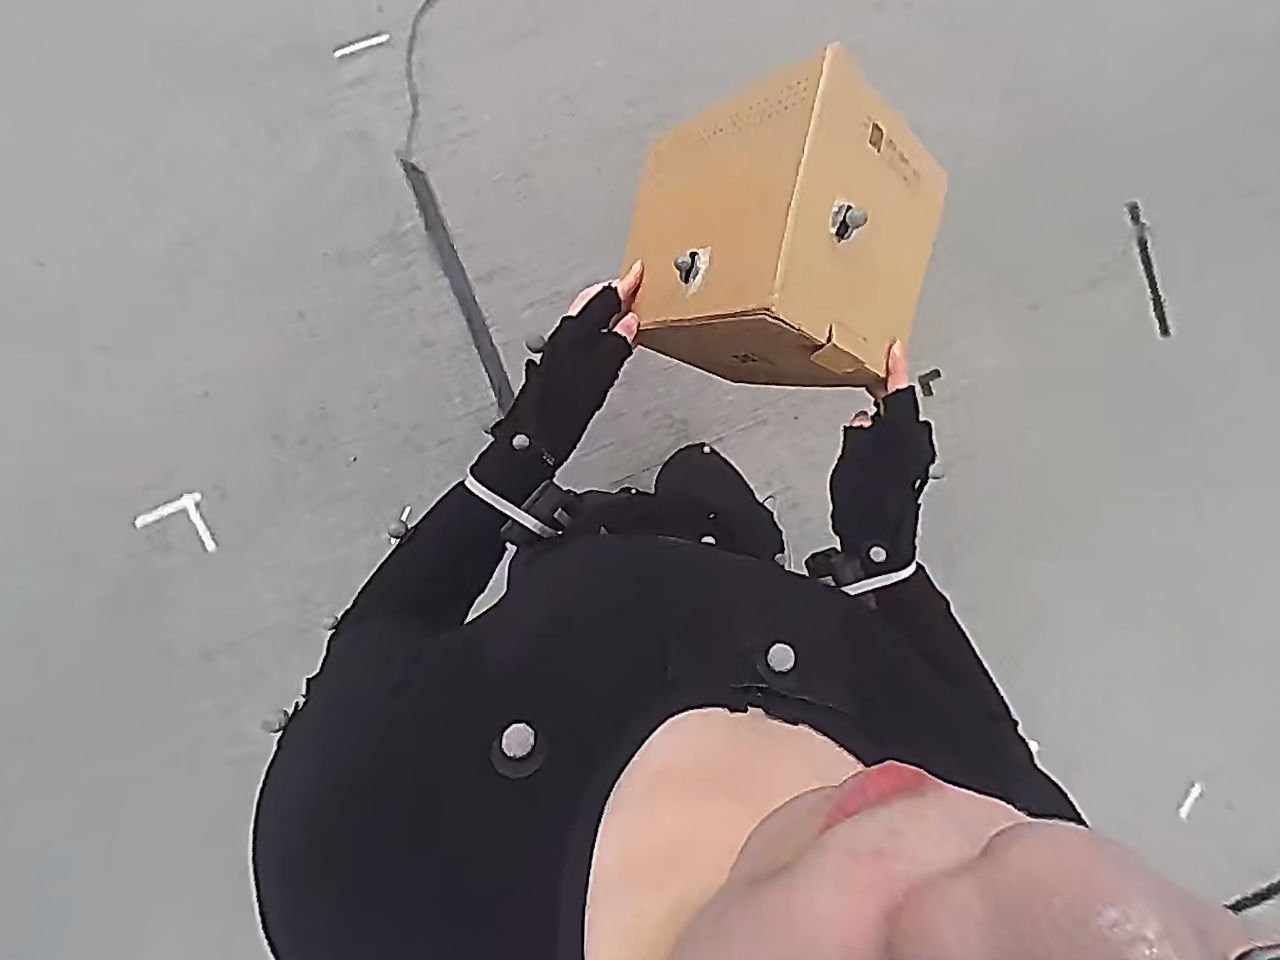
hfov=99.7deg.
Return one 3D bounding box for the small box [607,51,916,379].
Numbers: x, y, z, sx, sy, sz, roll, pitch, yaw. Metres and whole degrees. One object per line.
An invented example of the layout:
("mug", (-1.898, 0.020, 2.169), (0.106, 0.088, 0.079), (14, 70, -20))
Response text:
("small box", (0.098, -0.184, 0.433), (0.168, 0.179, 0.176), (10, 92, -40))
